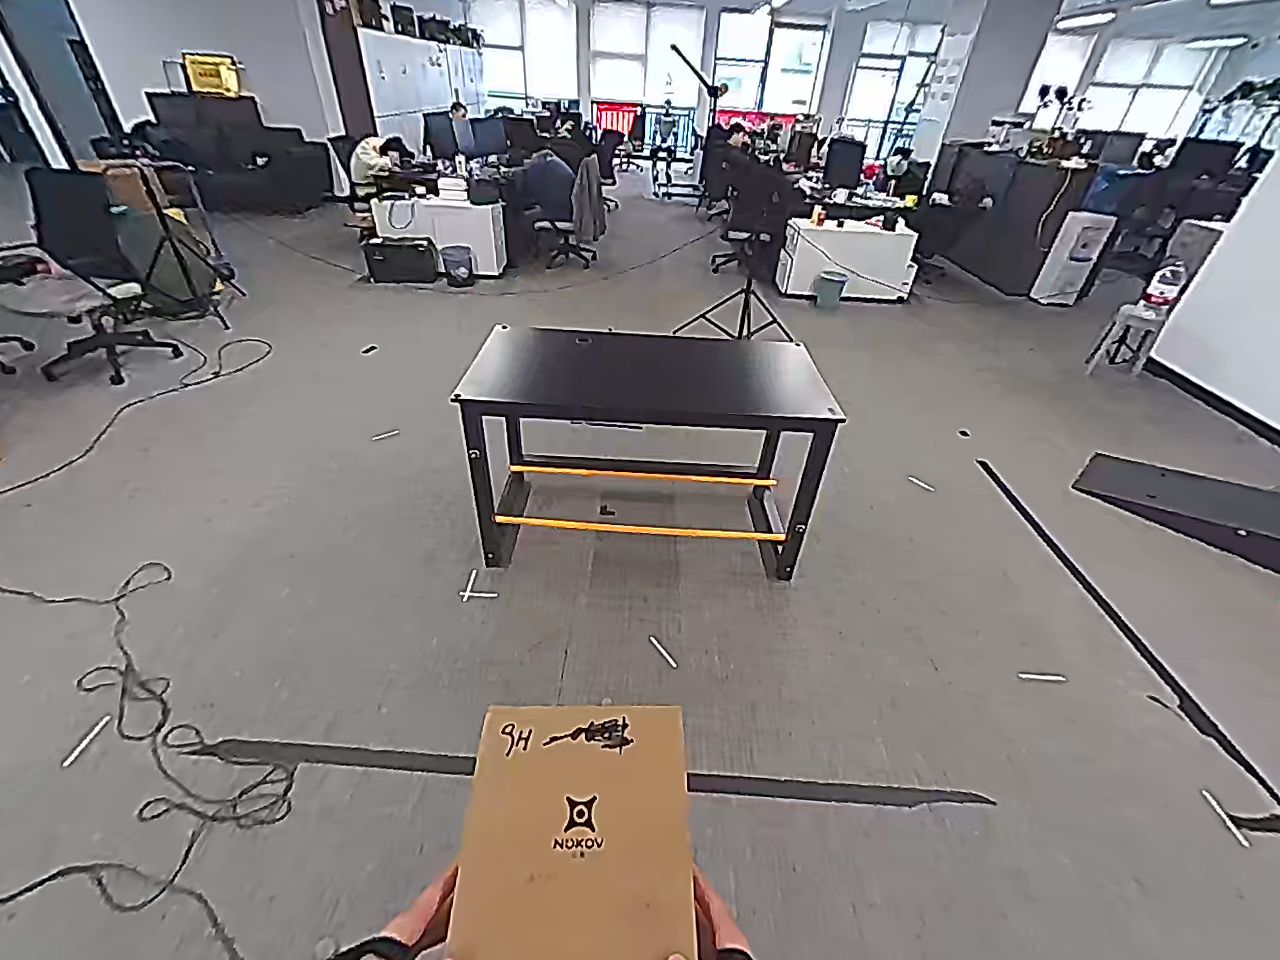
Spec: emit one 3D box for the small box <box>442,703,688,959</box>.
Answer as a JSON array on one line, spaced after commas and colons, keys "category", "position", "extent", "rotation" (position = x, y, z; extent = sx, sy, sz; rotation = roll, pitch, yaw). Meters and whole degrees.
[{"category": "small box", "position": [-0.050, 0.307, 0.463], "extent": [0.168, 0.176, 0.179], "rotation": [0, 49, -2]}]
